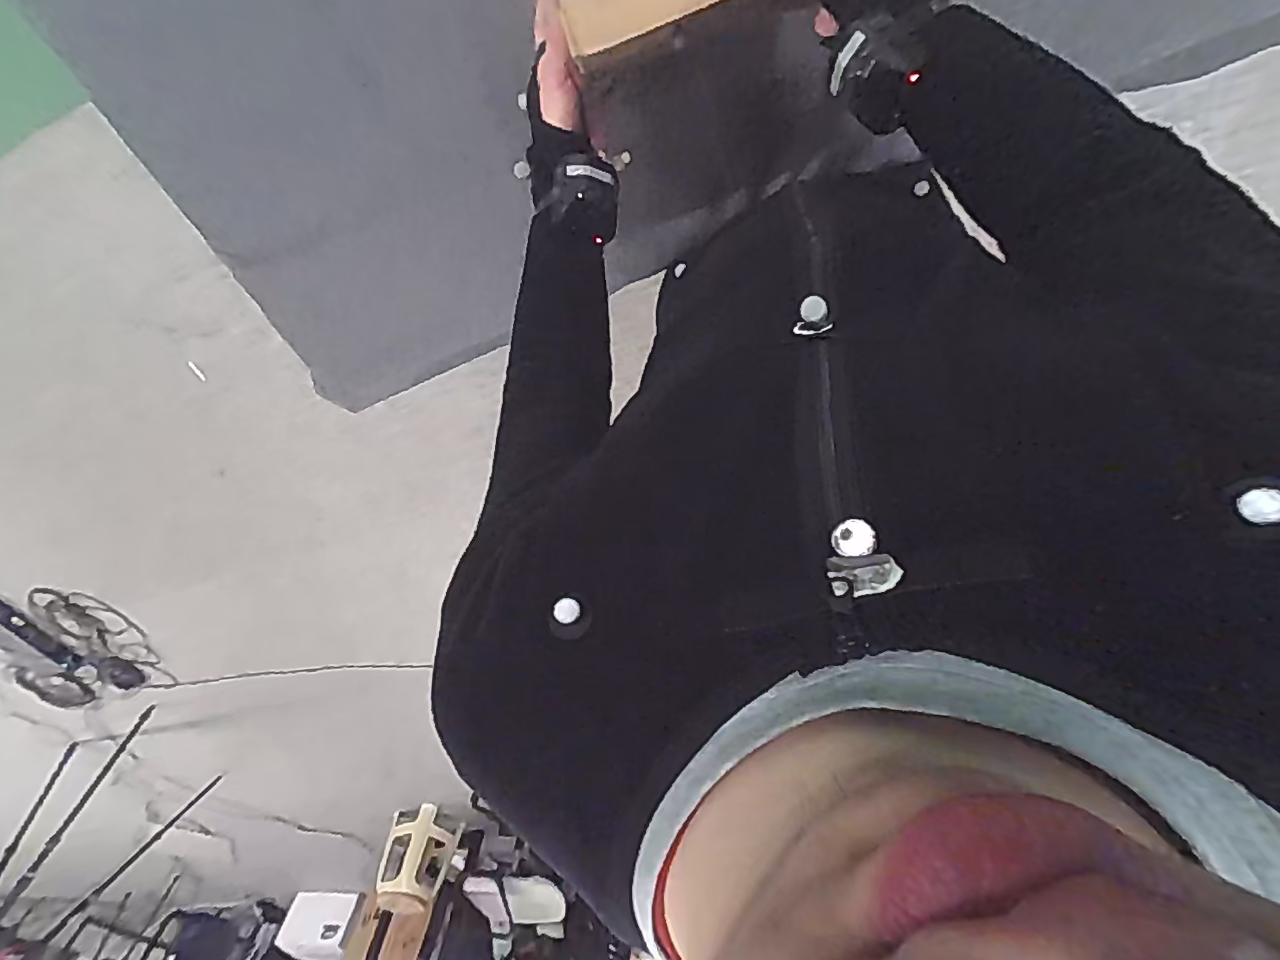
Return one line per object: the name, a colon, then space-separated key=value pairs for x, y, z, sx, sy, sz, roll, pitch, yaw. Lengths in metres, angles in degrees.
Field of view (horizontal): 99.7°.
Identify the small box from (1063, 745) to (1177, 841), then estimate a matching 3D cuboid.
small box: x=1.295 y=0.851 z=1.474 sx=0.179 sy=0.176 sz=0.168 roll=-17 pitch=123 yaw=16
